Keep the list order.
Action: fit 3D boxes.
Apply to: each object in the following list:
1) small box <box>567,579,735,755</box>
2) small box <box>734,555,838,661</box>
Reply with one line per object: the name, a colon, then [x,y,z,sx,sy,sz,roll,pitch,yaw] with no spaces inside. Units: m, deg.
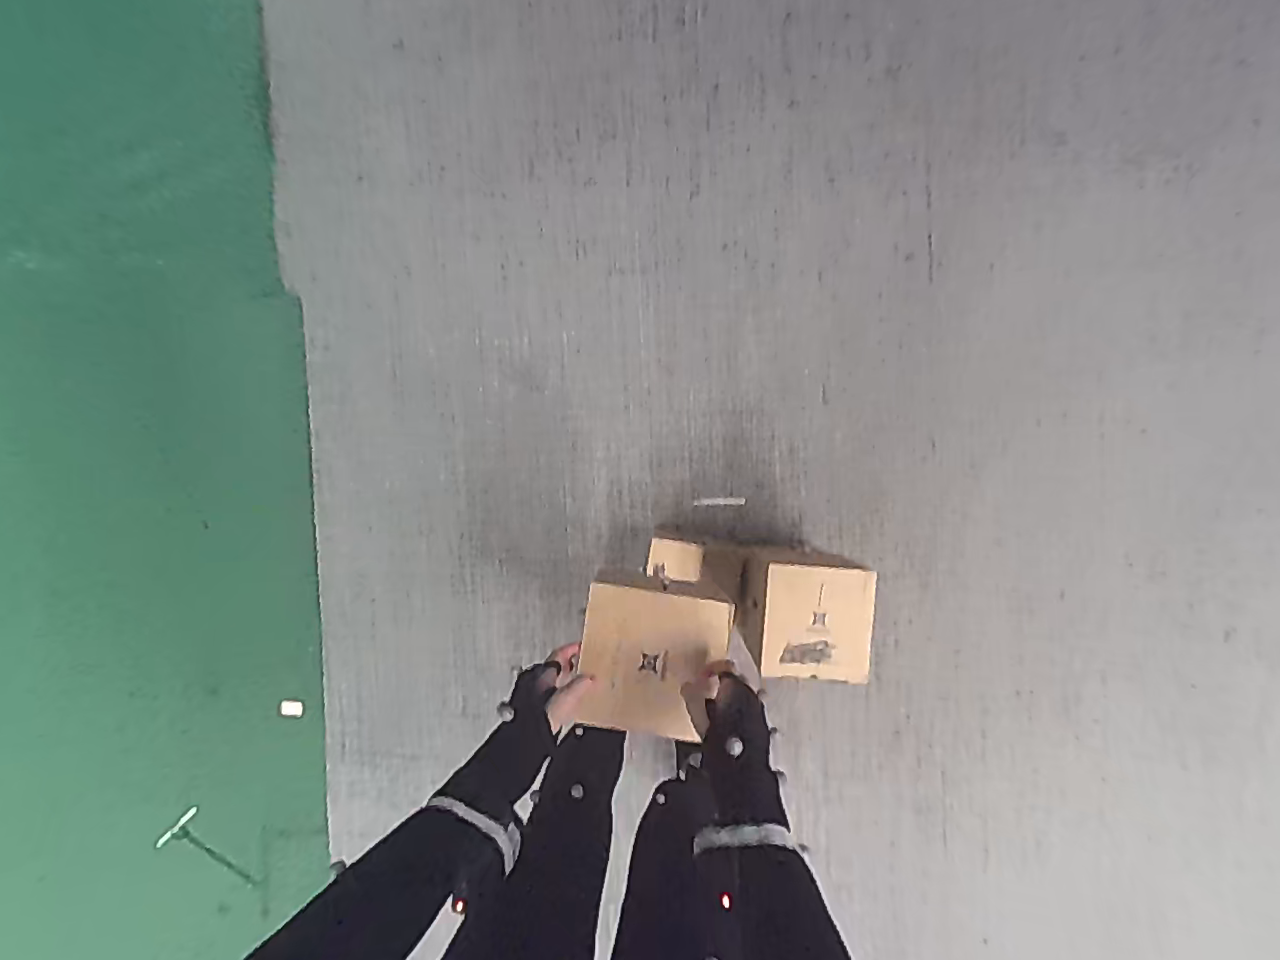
small box: [0.013,0.229,0.707,0.179,0.176,0.168,9,86,1]
small box: [0.279,0.242,1.064,0.168,0.176,0.179,-2,91,2]
